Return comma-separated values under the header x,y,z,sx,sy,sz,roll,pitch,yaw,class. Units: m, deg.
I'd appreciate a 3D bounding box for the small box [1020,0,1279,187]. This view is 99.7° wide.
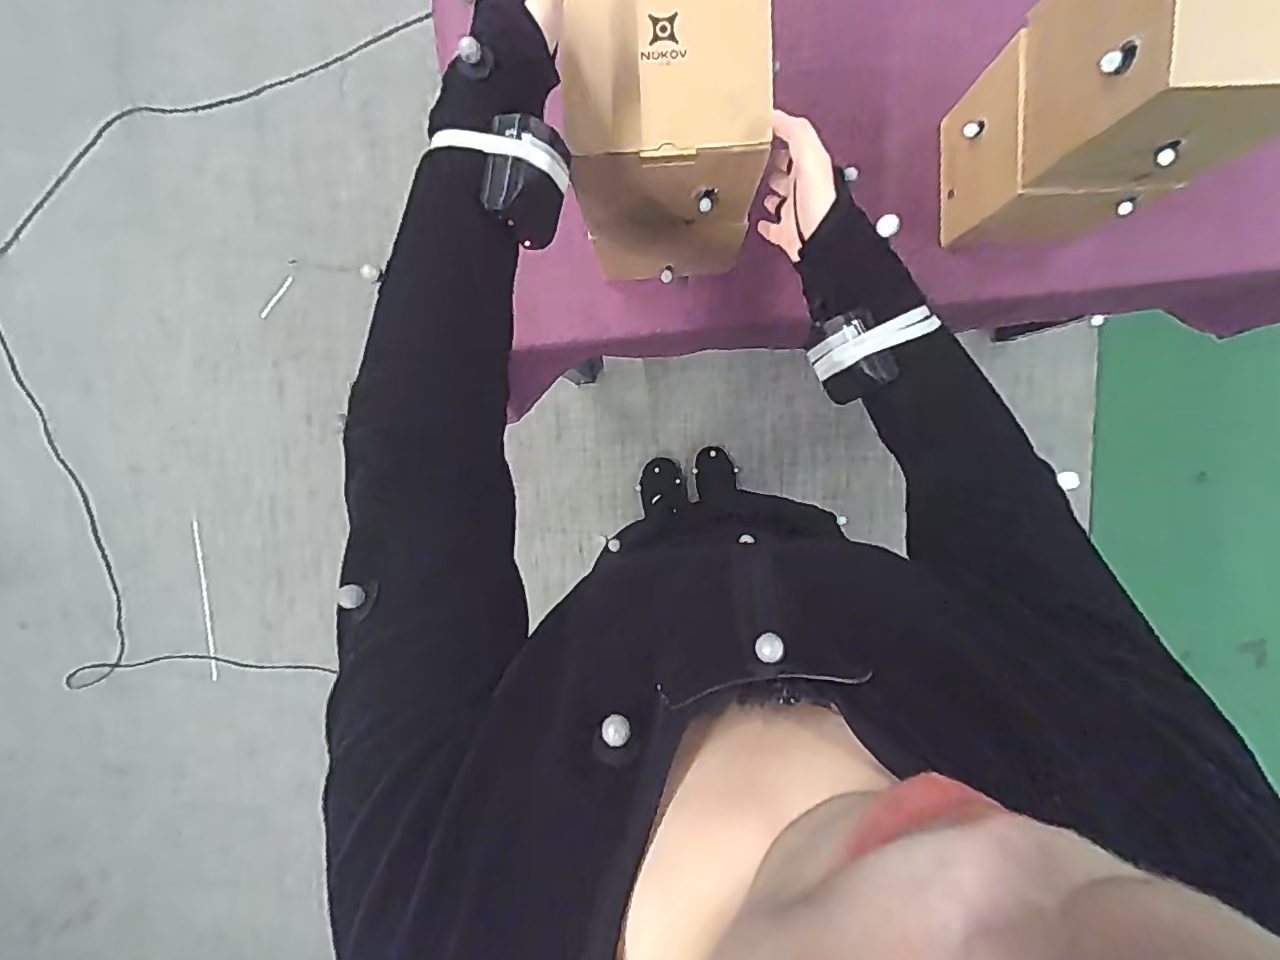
x,y,z,sx,sy,sz,roll,pitch,yaw,class
0.468,-0.376,0.470,0.168,0.176,0.179,0,94,2,small box

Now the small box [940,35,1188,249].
x,y,z,sx,sy,sz,roll,pitch,yaw,class
0.477,-0.383,0.634,0.179,0.176,0.168,-2,94,3,small box

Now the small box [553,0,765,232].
x,y,z,sx,sy,sz,roll,pitch,yaw,class
0.019,-0.343,0.497,0.168,0.176,0.179,-1,94,3,small box

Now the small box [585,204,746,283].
x,y,z,sx,sy,sz,roll,pitch,yaw,class
0.026,-0.350,0.660,0.179,0.176,0.168,-3,94,3,small box
